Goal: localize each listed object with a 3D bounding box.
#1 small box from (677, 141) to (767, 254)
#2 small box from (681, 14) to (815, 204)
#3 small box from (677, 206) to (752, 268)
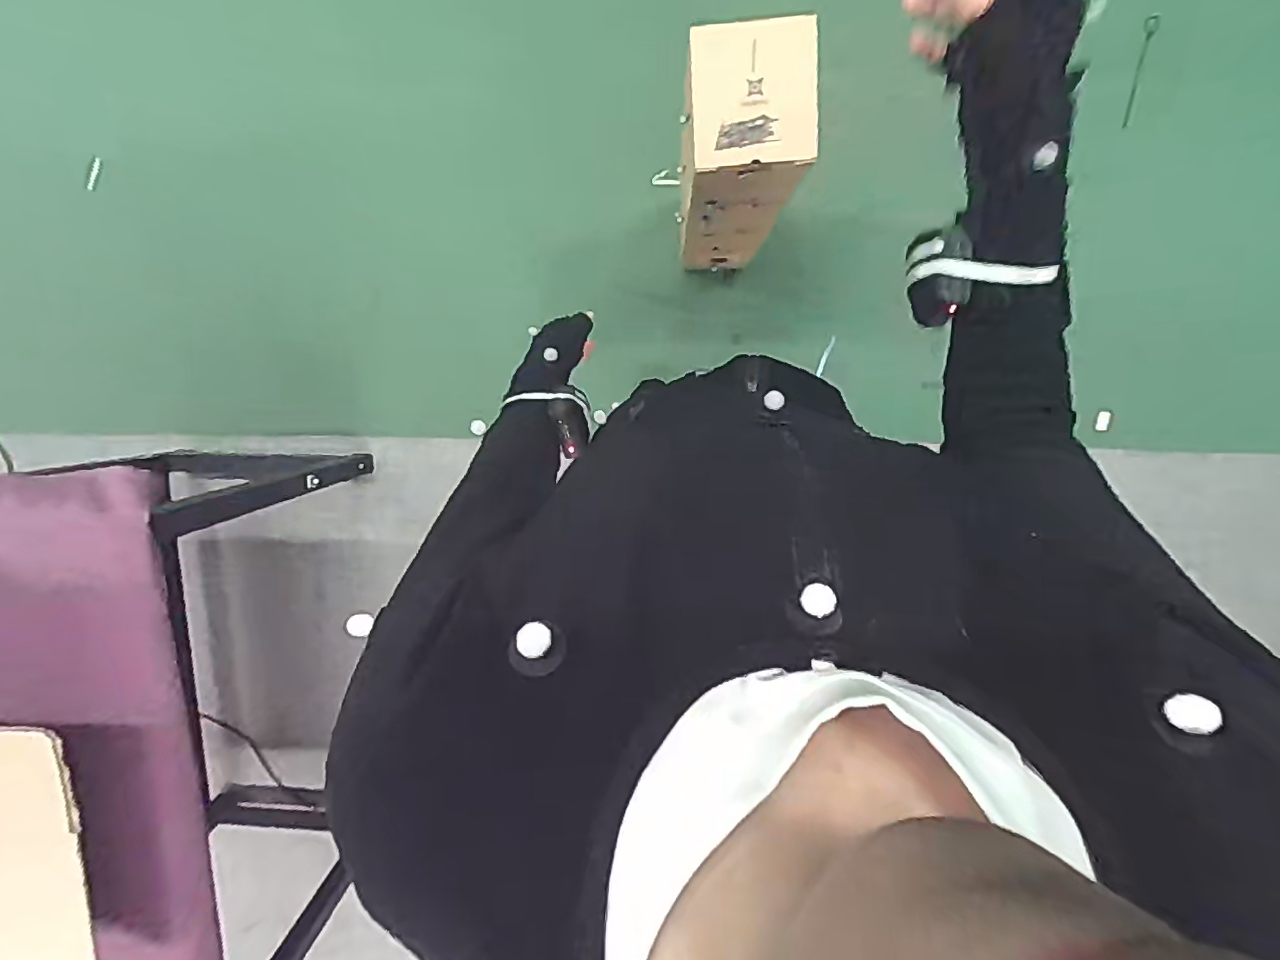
[{"bbox_3d":[0.164,-0.580,1.114,0.168,0.176,0.179,-2,101,2],"label":"small box"},{"bbox_3d":[0.150,-0.521,0.791,0.168,0.176,0.179,-6,102,3],"label":"small box"},{"bbox_3d":[0.173,-0.610,1.274,0.168,0.176,0.179,0,101,3],"label":"small box"}]
